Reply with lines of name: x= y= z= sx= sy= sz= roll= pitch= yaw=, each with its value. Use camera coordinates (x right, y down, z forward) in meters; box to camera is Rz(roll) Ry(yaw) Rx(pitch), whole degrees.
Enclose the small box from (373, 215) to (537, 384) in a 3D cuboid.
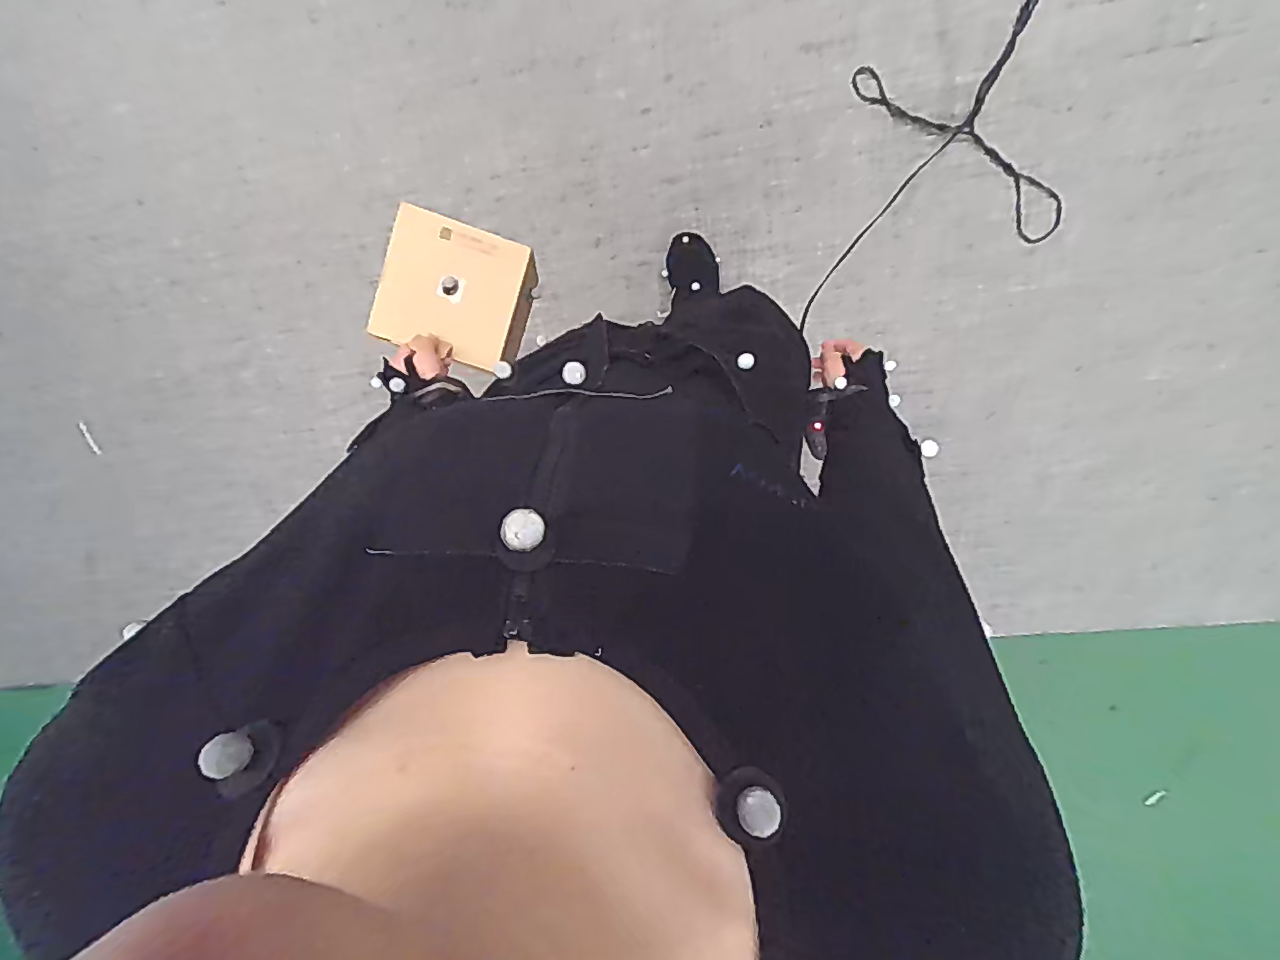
small box: x=-0.248 y=-0.244 z=0.760 sx=0.168 sy=0.179 sz=0.176 roll=15 pitch=94 yaw=-9
